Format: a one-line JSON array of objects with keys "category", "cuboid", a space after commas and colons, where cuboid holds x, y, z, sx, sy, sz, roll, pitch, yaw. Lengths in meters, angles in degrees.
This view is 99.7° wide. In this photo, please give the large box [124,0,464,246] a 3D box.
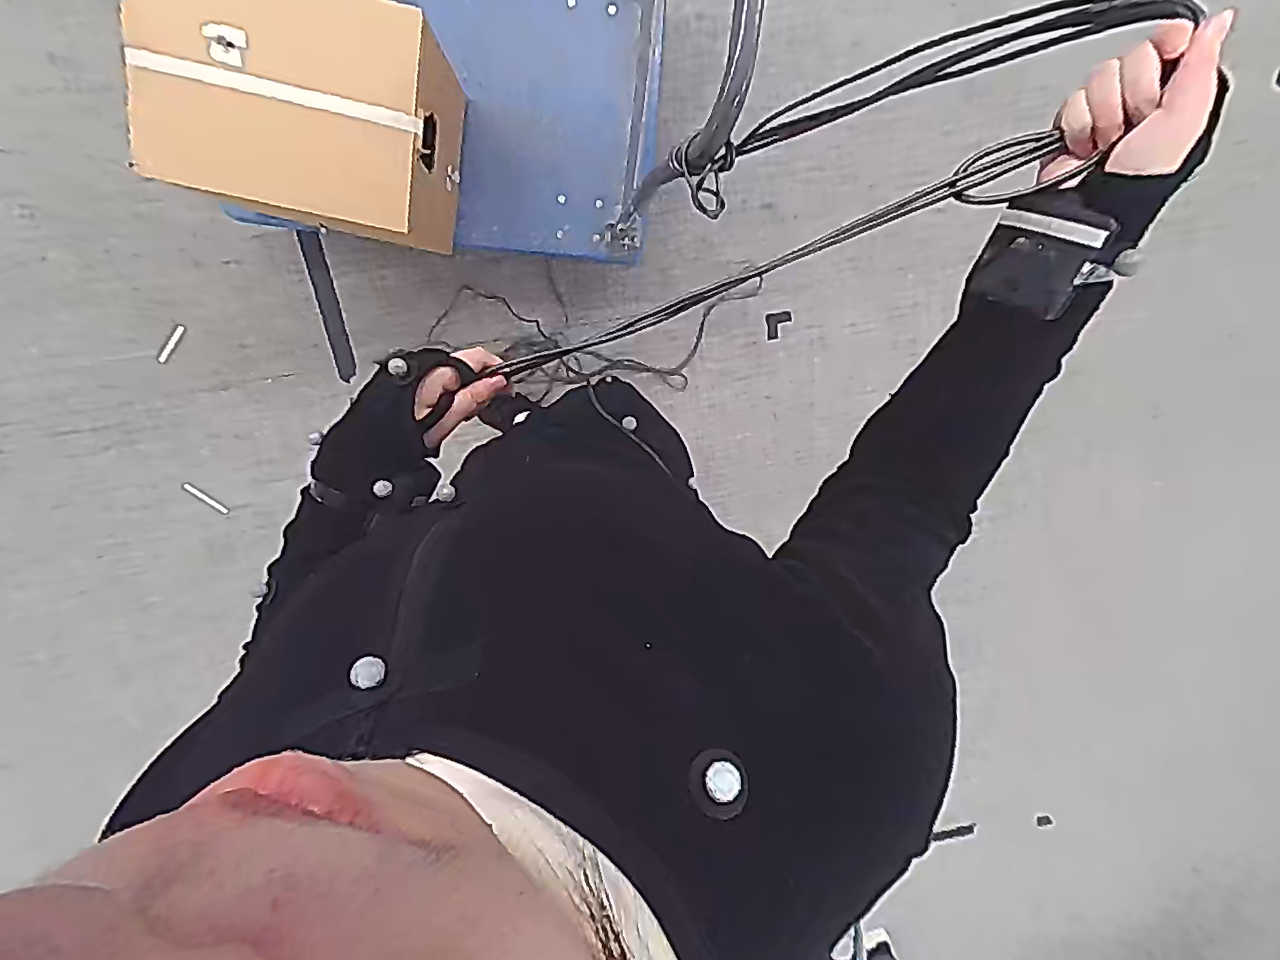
[{"category": "large box", "cuboid": [-0.550, -0.620, 0.942, 0.408, 0.320, 0.320, 9, 105, -8]}]
